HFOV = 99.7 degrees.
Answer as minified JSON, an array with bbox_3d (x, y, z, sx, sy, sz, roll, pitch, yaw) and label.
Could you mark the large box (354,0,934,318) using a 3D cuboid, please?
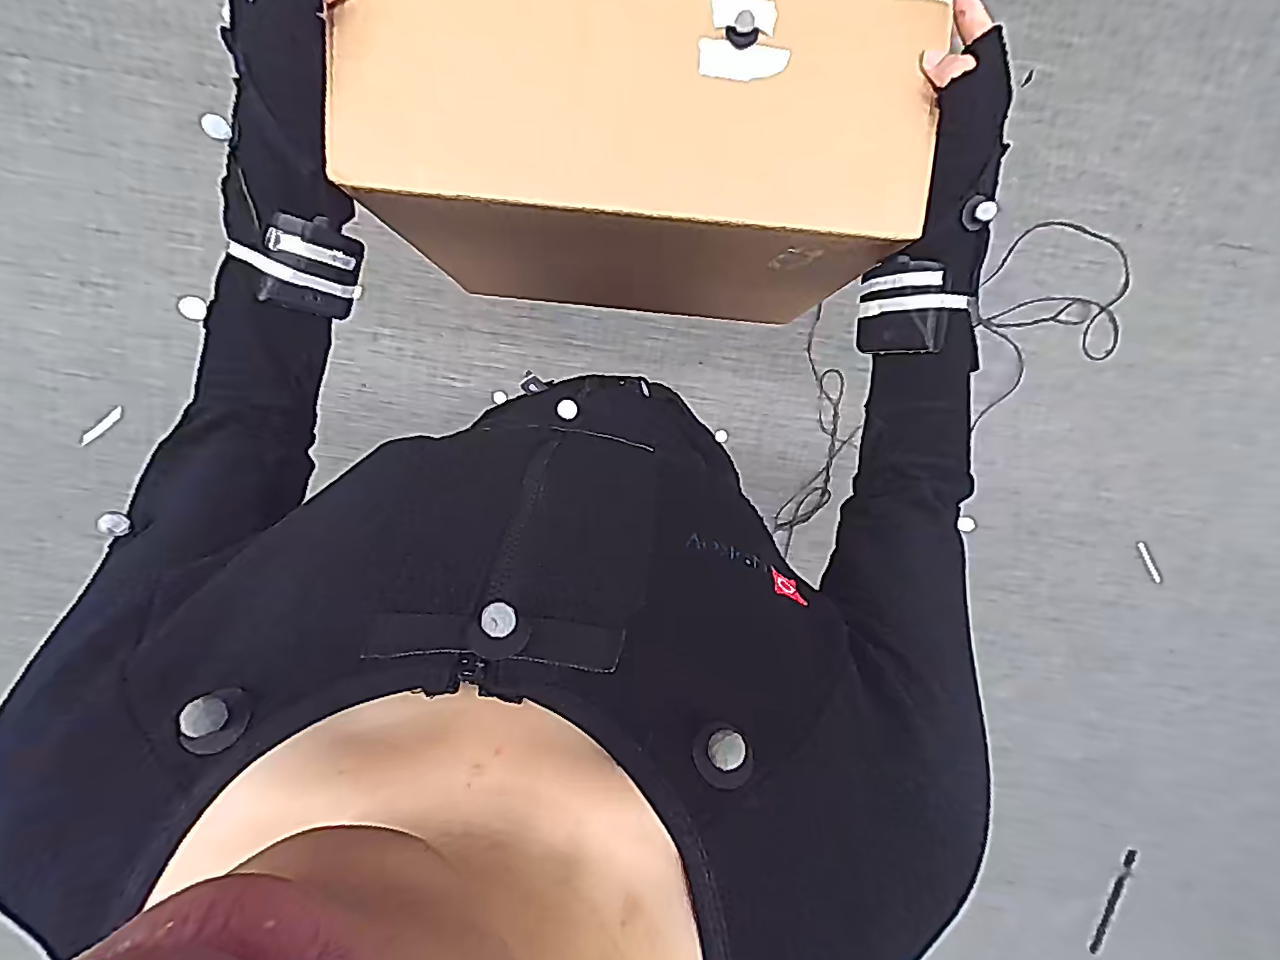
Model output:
[{"bbox_3d":[0.003,-0.355,0.519,0.408,0.320,0.320,5,95,-2],"label":"large box"}]
